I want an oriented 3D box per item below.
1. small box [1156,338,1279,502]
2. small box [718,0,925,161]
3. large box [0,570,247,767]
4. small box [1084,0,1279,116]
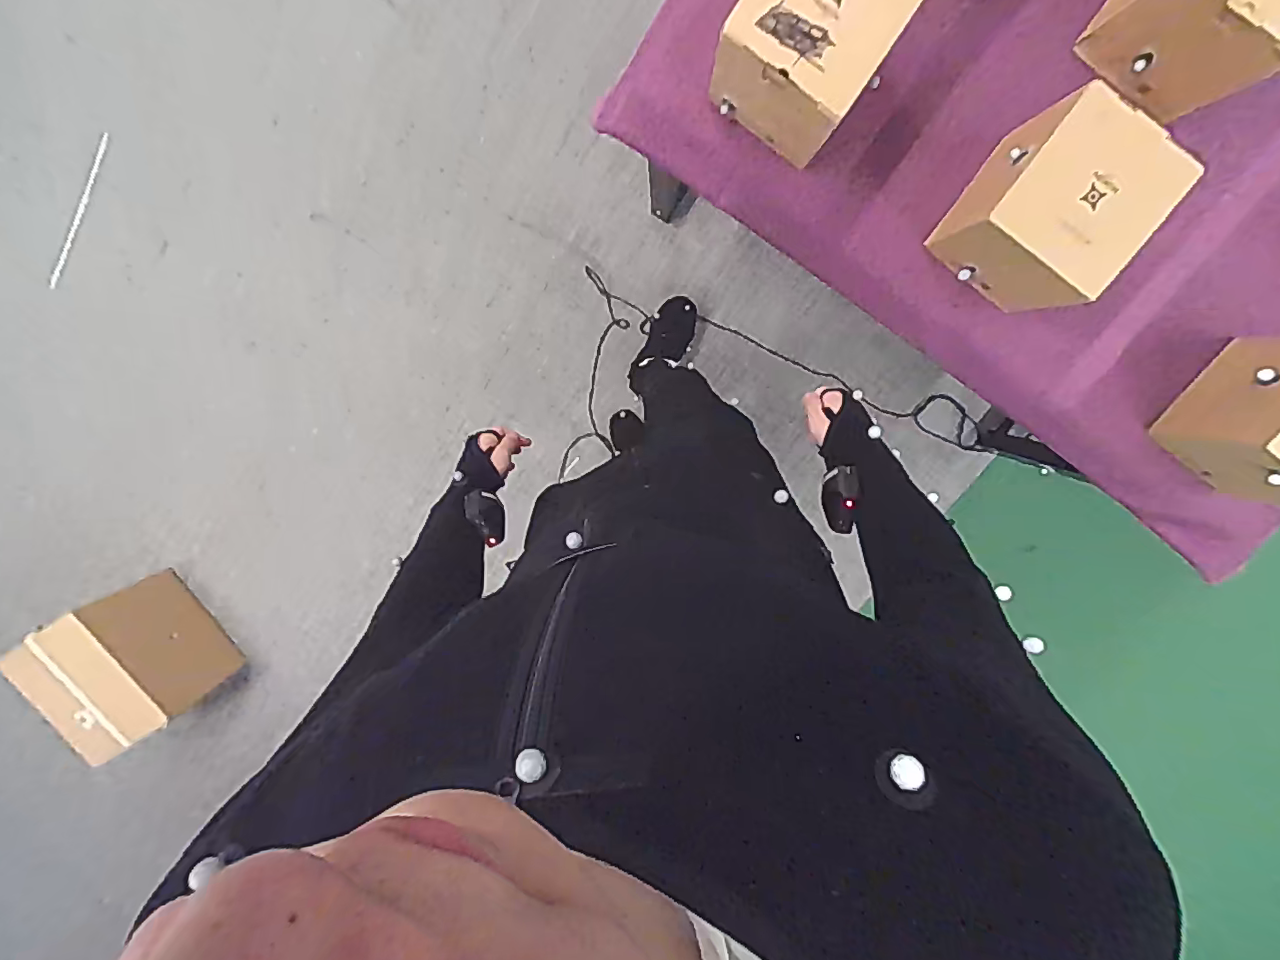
[{"bbox_3d":[0.886,-0.081,0.736,0.168,0.176,0.179,35,100,-5],"label":"small box"},{"bbox_3d":[0.209,-0.531,0.652,0.168,0.176,0.179,33,101,-6],"label":"small box"},{"bbox_3d":[-1.546,0.557,1.650,0.320,0.320,0.408,-31,101,9],"label":"large box"},{"bbox_3d":[0.688,-0.580,0.628,0.168,0.176,0.179,33,103,-7],"label":"small box"}]
